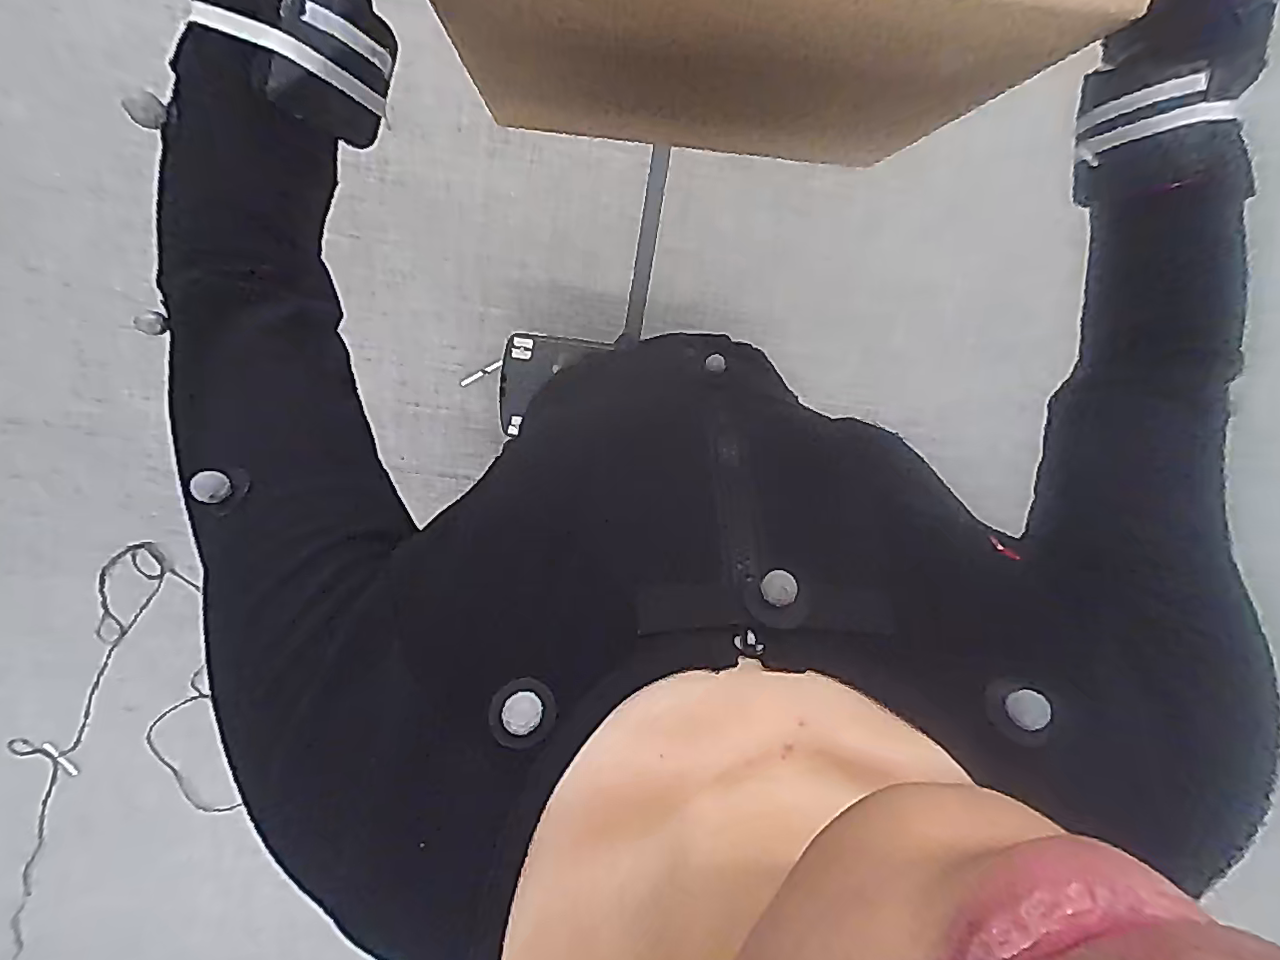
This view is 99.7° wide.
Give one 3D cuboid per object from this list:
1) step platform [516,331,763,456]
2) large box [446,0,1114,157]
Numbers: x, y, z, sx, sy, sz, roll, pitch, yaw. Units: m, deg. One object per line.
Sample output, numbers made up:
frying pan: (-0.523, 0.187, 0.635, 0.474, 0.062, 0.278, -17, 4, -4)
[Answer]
step platform: (-0.004, -0.242, 1.534, 0.684, 0.204, 0.286, 5, 102, -6)
large box: (0.071, -0.461, 0.391, 0.408, 0.320, 0.320, 2, 107, -6)
